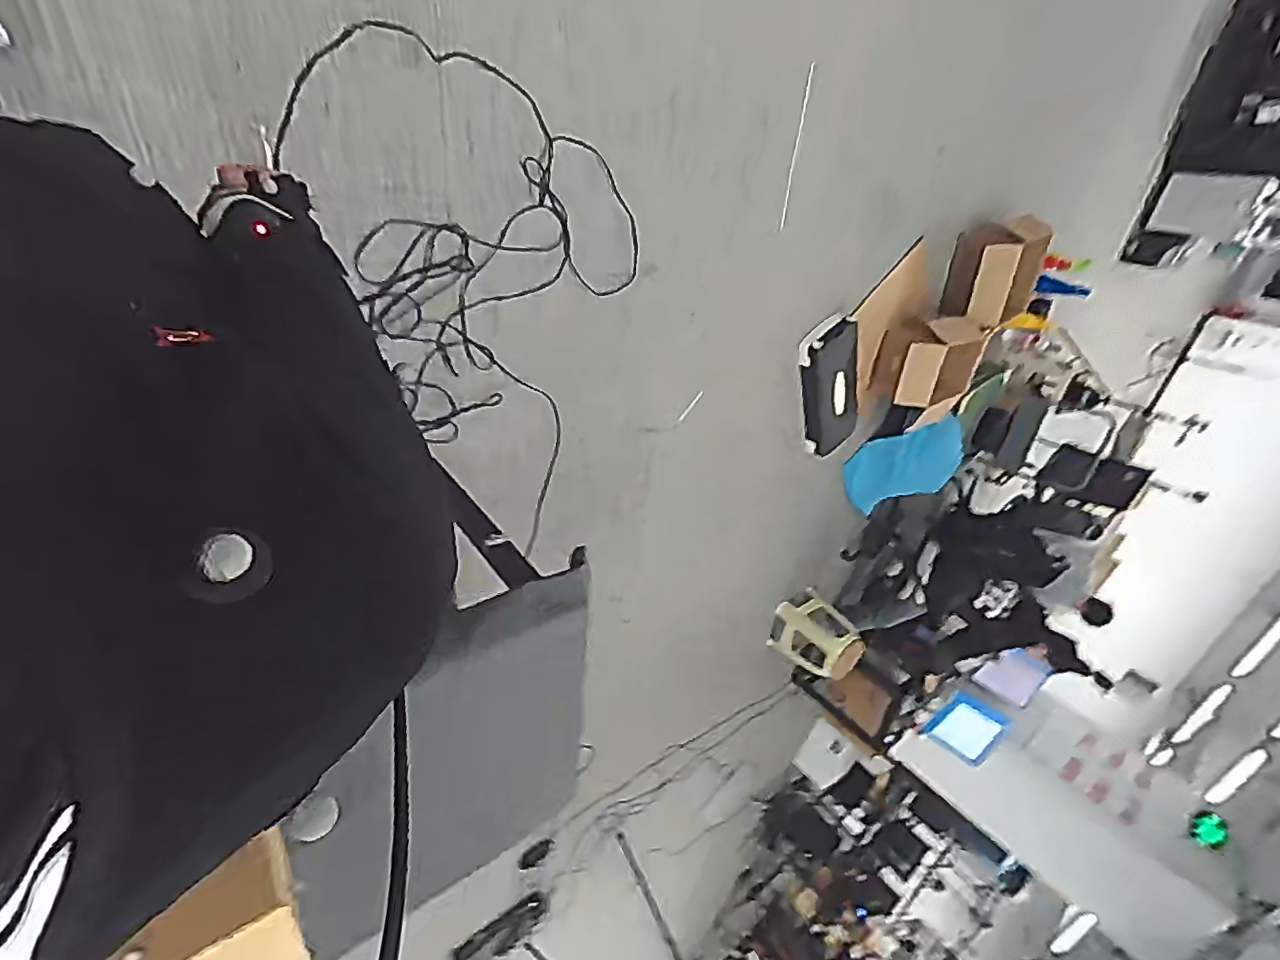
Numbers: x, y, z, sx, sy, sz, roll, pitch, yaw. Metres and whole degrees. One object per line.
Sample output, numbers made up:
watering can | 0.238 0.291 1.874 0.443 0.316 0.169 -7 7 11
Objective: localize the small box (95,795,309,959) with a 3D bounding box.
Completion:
small box | -0.547 0.548 0.681 0.179 0.176 0.168 -16 127 -35
